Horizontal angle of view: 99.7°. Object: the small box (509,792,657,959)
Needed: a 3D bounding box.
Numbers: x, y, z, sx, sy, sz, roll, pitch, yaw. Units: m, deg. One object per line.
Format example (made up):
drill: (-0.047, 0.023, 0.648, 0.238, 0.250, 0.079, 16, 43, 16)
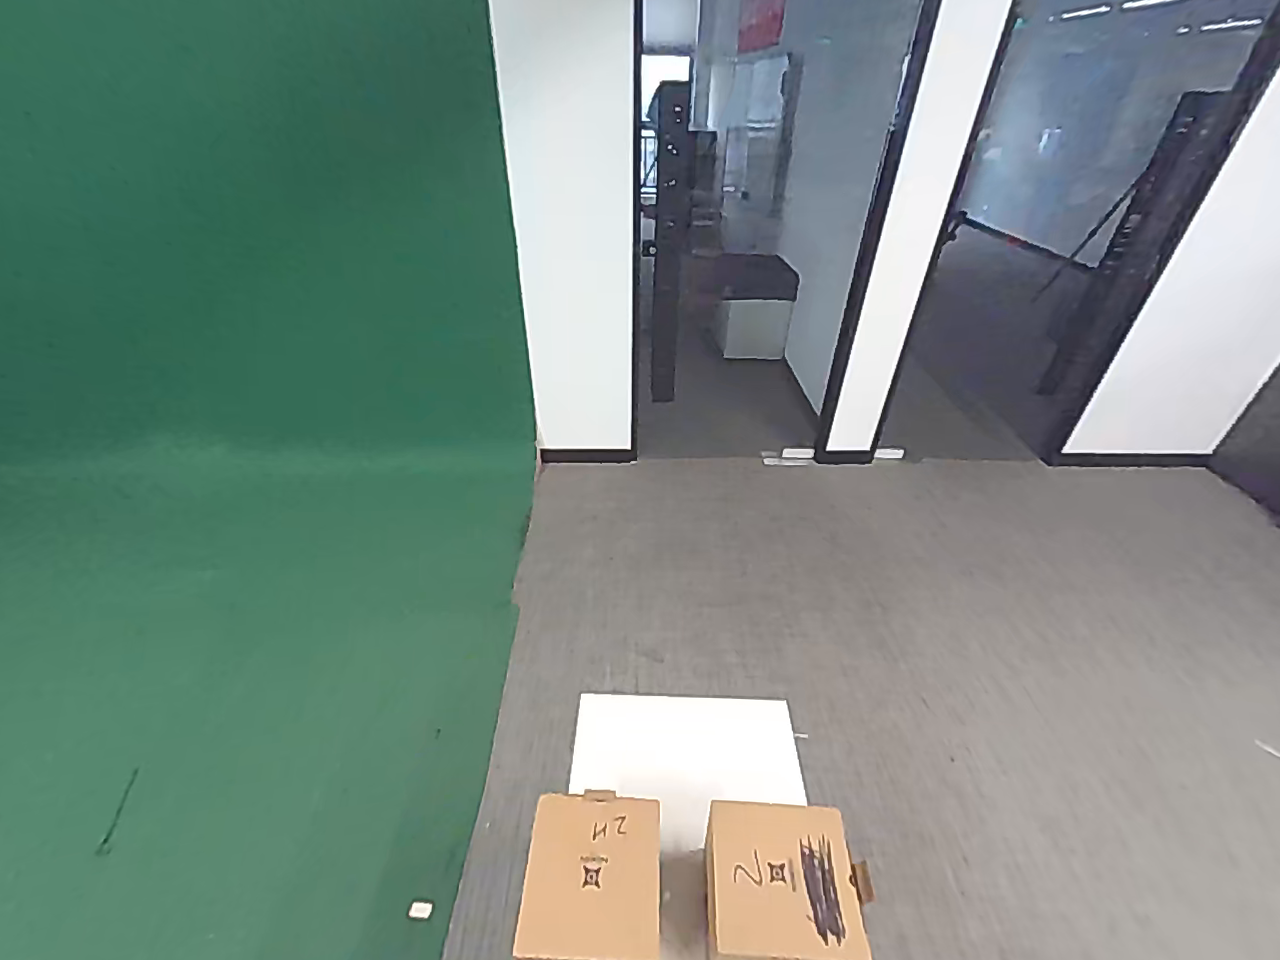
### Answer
small box: (-0.064, 0.544, 0.713, 0.168, 0.176, 0.179, 4, 36, 0)
